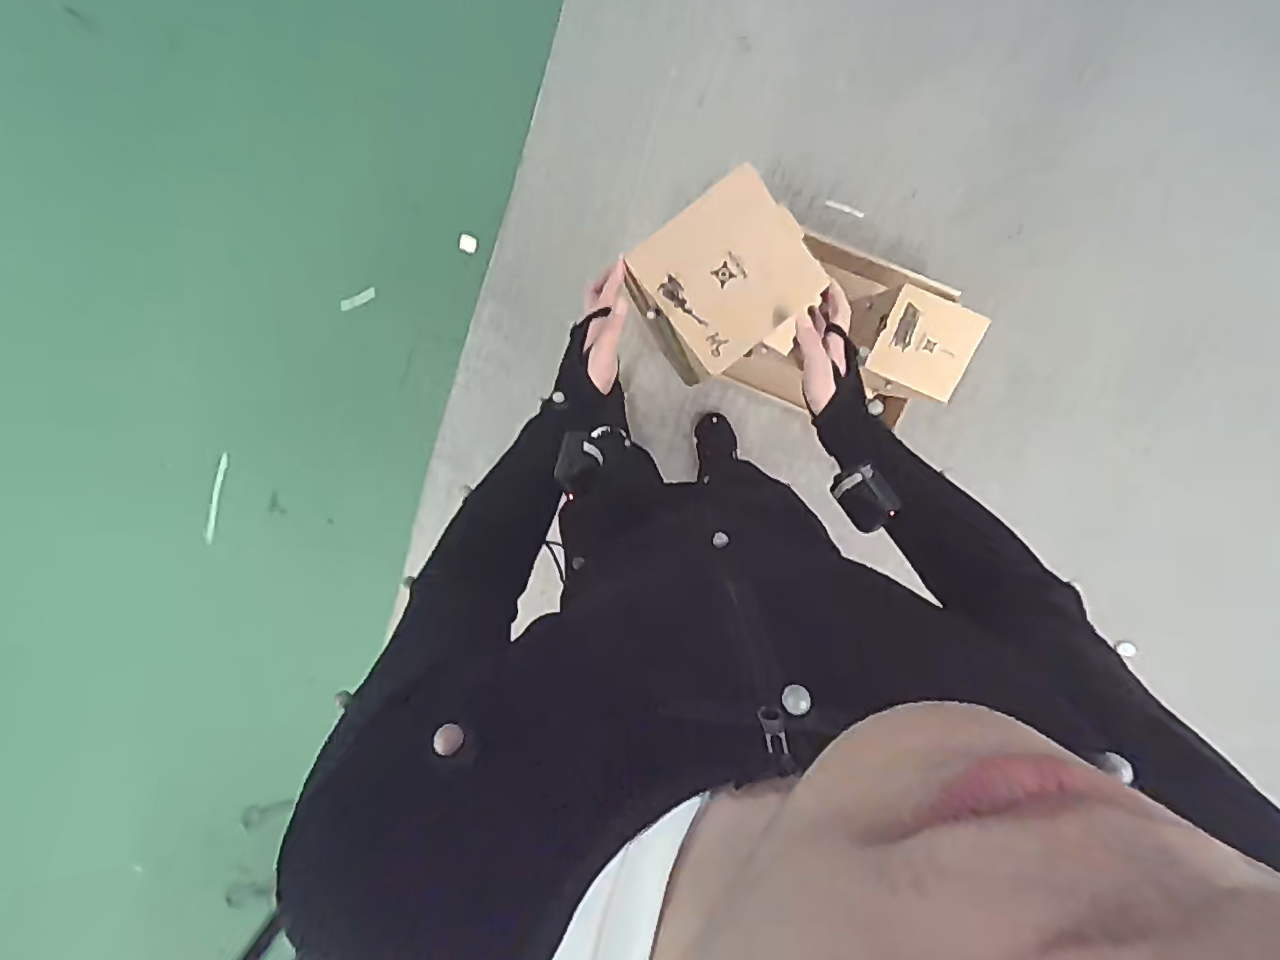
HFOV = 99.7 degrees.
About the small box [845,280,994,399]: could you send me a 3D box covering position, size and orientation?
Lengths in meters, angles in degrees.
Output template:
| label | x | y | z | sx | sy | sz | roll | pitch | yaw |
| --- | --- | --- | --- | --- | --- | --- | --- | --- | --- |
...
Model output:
| label | x | y | z | sx | sy | sz | roll | pitch | yaw |
| --- | --- | --- | --- | --- | --- | --- | --- | --- | --- |
| small box | 0.533 | -0.270 | 1.064 | 0.179 | 0.176 | 0.168 | 24 | 103 | -1 |
